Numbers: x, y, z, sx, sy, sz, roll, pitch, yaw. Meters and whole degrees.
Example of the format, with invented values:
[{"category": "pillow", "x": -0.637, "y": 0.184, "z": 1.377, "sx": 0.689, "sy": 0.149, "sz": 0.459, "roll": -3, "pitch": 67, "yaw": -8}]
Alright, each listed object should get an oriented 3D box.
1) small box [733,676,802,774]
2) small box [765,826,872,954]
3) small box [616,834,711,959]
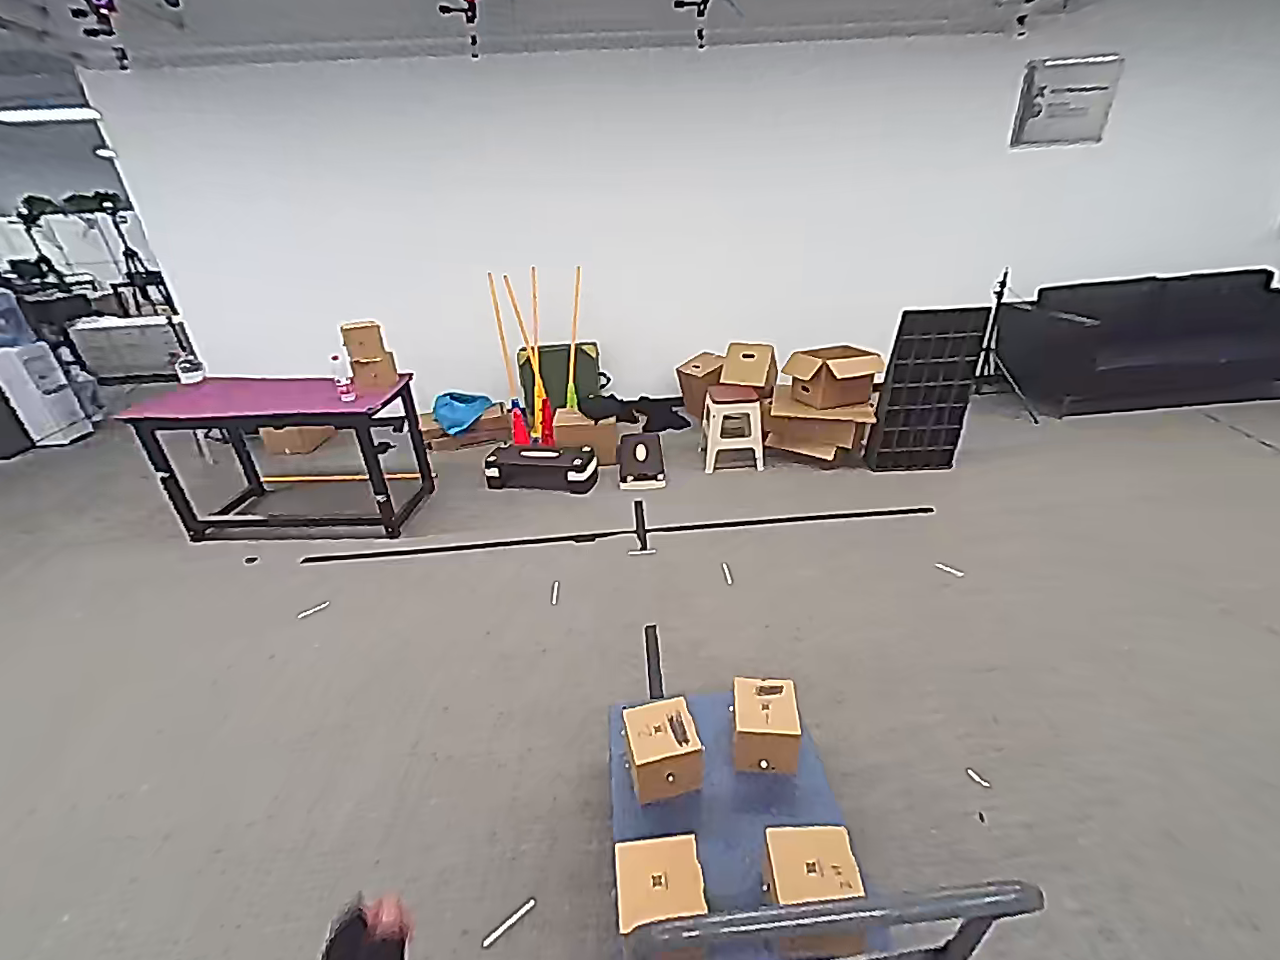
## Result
[{"category": "small box", "x": 0.343, "y": 0.672, "z": 1.491, "sx": 0.168, "sy": 0.176, "sz": 0.179, "roll": 0, "pitch": 29, "yaw": 7}, {"category": "small box", "x": 0.363, "y": 0.861, "z": 1.137, "sx": 0.179, "sy": 0.176, "sz": 0.168, "roll": -2, "pitch": 28, "yaw": 2}, {"category": "small box", "x": 0.046, "y": 0.882, "z": 1.131, "sx": 0.179, "sy": 0.176, "sz": 0.168, "roll": -4, "pitch": 28, "yaw": -5}]
